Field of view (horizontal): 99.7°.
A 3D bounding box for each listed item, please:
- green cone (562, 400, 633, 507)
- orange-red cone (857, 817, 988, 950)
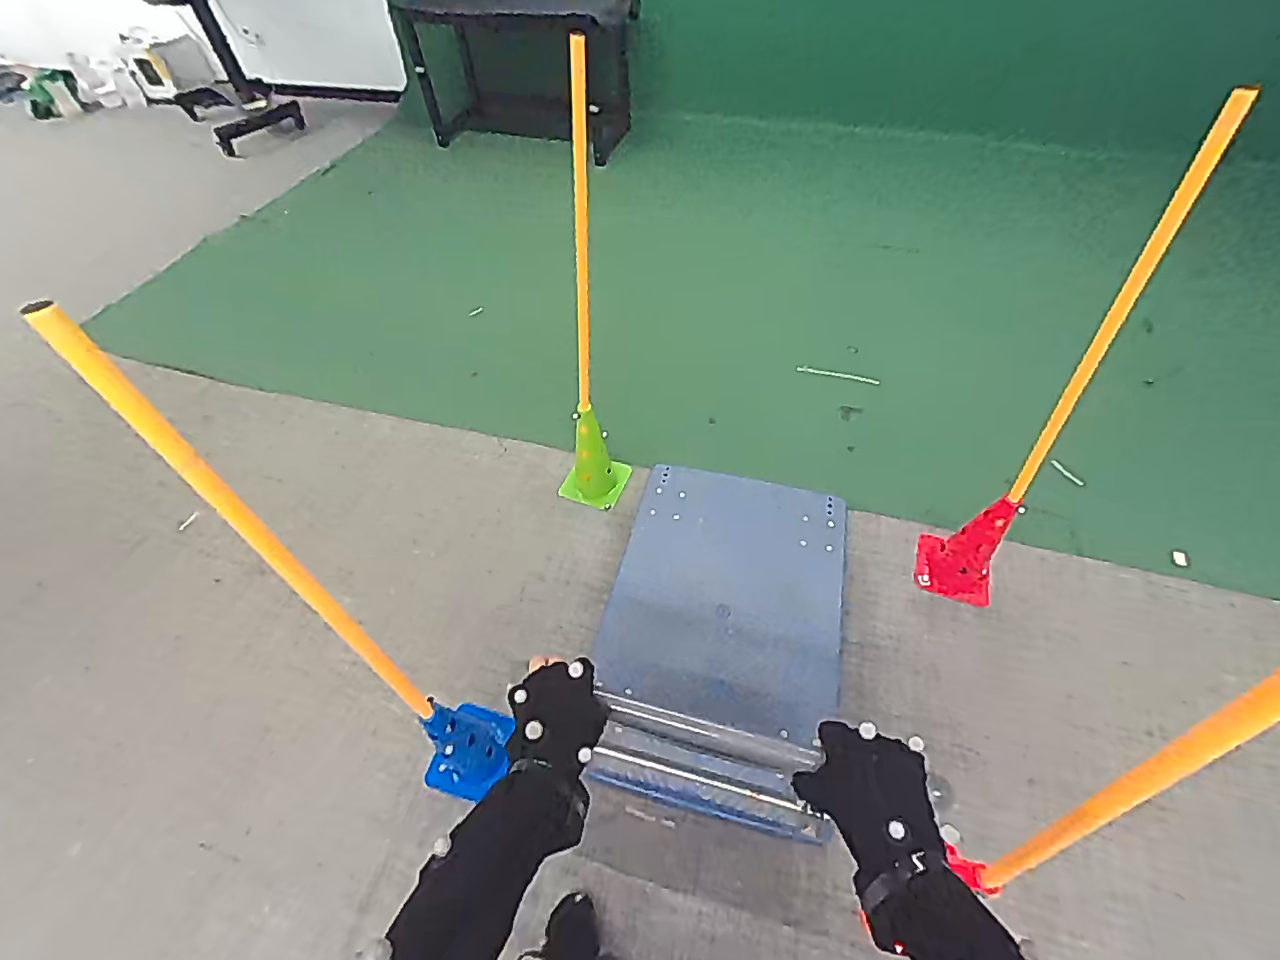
[{"bbox_3d":[-0.153,-0.112,1.724,0.202,0.368,0.200,16,54,15],"label":"green cone"},{"bbox_3d":[0.562,0.751,1.027,0.199,0.360,0.198,11,53,13],"label":"orange-red cone"}]
